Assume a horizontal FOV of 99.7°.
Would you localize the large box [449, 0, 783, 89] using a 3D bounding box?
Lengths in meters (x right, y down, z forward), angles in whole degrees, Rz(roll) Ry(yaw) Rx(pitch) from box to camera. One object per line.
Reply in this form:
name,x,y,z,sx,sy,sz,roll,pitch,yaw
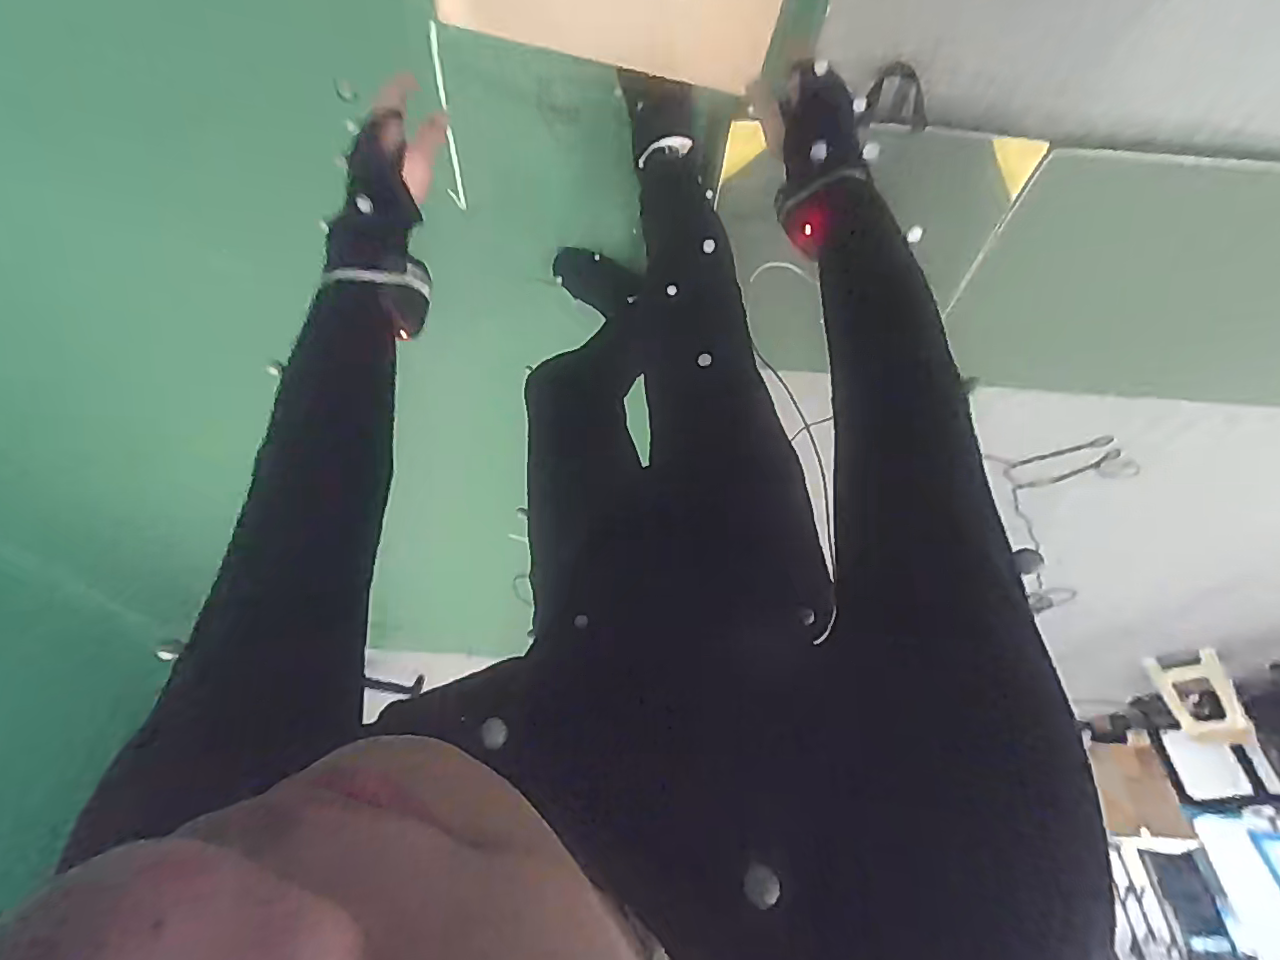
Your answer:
large box,-0.013,-0.746,0.657,0.408,0.320,0.320,7,145,-8
